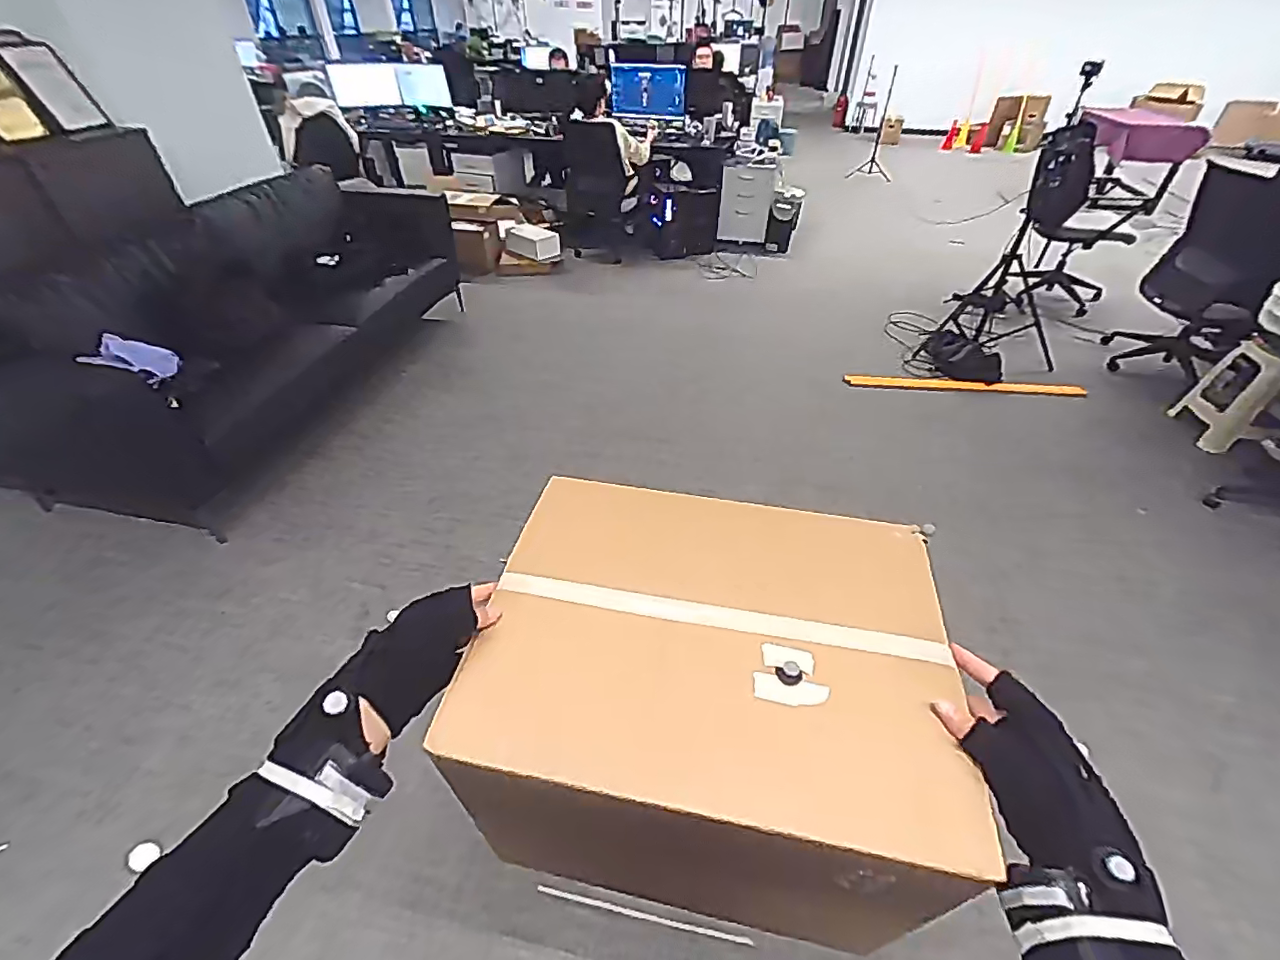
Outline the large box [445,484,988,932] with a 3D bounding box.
[{"bbox_3d":[0.069,0.236,0.597,0.408,0.320,0.320,7,44,9],"label":"large box"}]
